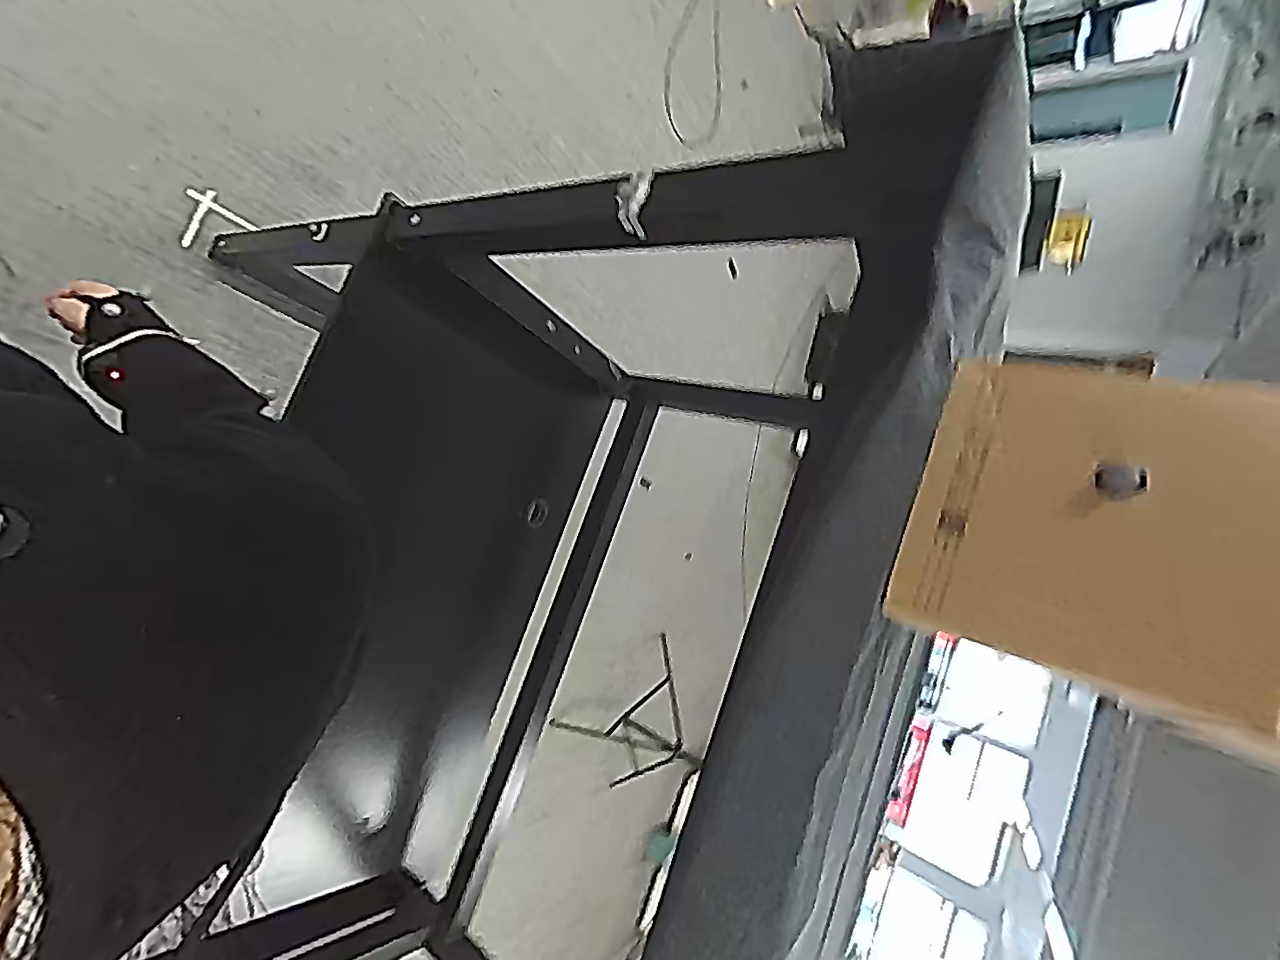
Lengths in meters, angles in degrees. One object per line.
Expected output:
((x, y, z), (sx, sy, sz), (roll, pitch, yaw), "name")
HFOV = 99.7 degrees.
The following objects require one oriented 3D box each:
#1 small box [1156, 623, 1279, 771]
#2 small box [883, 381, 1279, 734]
((0.406, 0.086, 0.278), (0.179, 0.176, 0.168), (34, 74, -56), "small box")
((0.275, 0.044, 0.365), (0.179, 0.176, 0.168), (30, 78, -57), "small box")
